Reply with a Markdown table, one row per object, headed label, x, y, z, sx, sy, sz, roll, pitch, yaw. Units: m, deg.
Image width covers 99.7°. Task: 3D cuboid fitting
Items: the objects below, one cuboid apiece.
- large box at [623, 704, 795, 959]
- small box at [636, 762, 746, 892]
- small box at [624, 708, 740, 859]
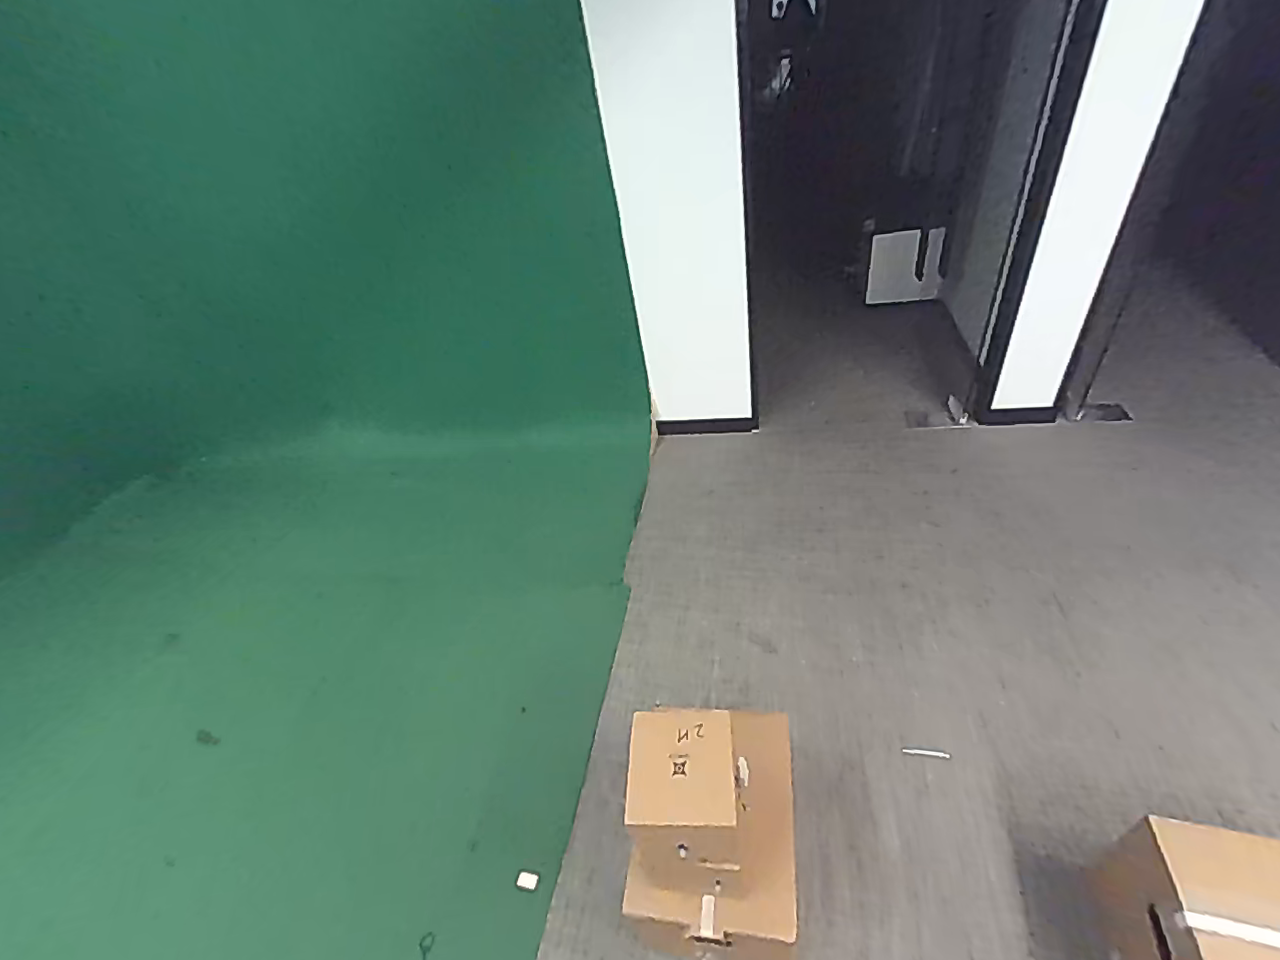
| label | x | y | z | sx | sy | sz | roll | pitch | yaw |
| --- | --- | --- | --- | --- | --- | --- | --- | --- | --- |
| large box | 0.171 | 0.771 | 1.196 | 0.320 | 0.320 | 0.408 | -1 | 40 | 13 |
| small box | 0.102 | 0.631 | 0.995 | 0.179 | 0.176 | 0.168 | -3 | 39 | 13 |
| small box | 0.076 | 0.502 | 0.896 | 0.168 | 0.176 | 0.179 | -4 | 39 | 9 |
